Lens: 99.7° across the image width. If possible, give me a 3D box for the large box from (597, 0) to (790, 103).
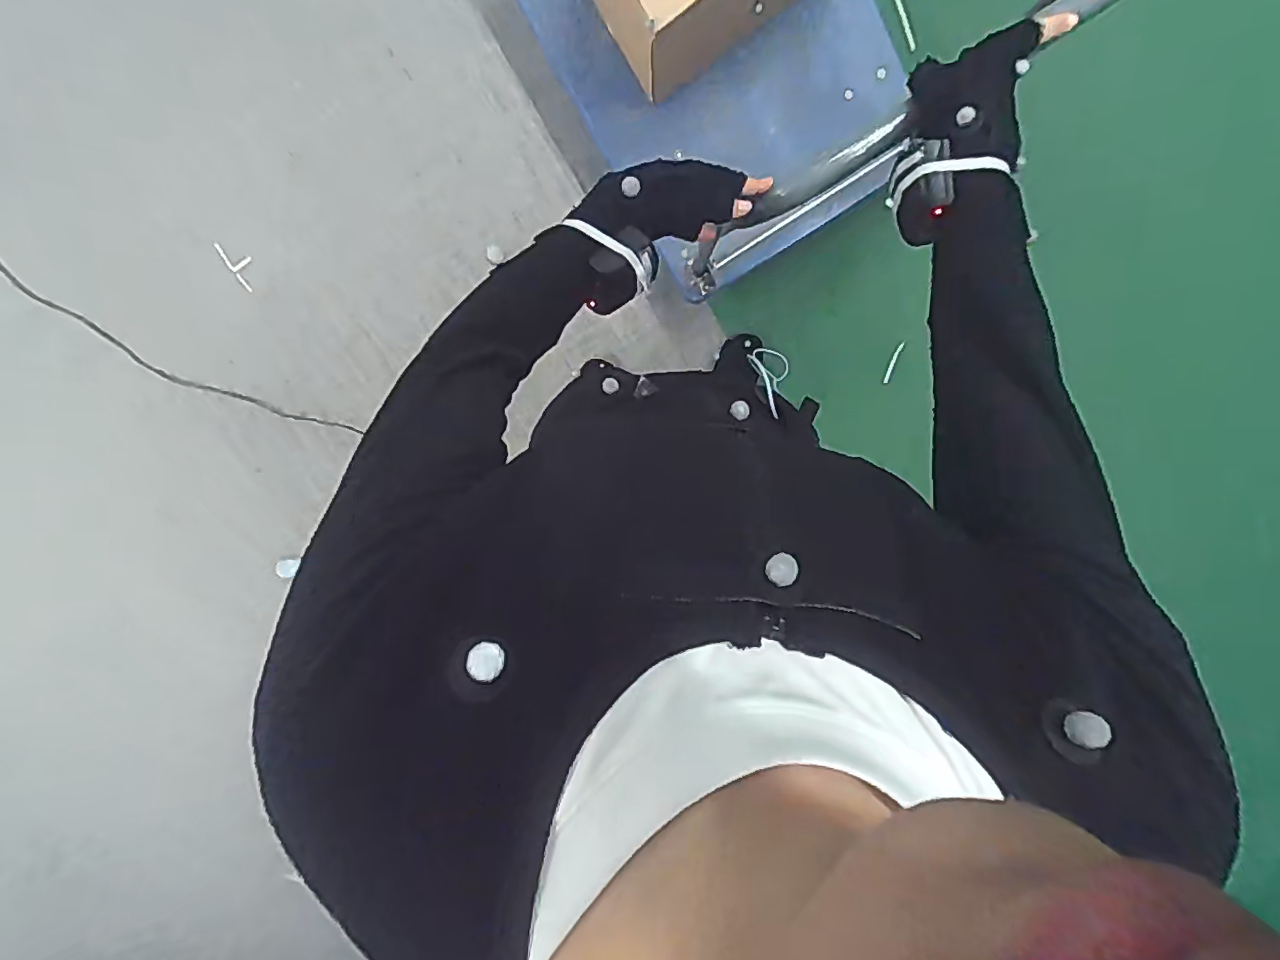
[{"bbox_3d":[0.111,-0.937,0.881,0.408,0.320,0.320,-32,102,11],"label":"large box"}]
